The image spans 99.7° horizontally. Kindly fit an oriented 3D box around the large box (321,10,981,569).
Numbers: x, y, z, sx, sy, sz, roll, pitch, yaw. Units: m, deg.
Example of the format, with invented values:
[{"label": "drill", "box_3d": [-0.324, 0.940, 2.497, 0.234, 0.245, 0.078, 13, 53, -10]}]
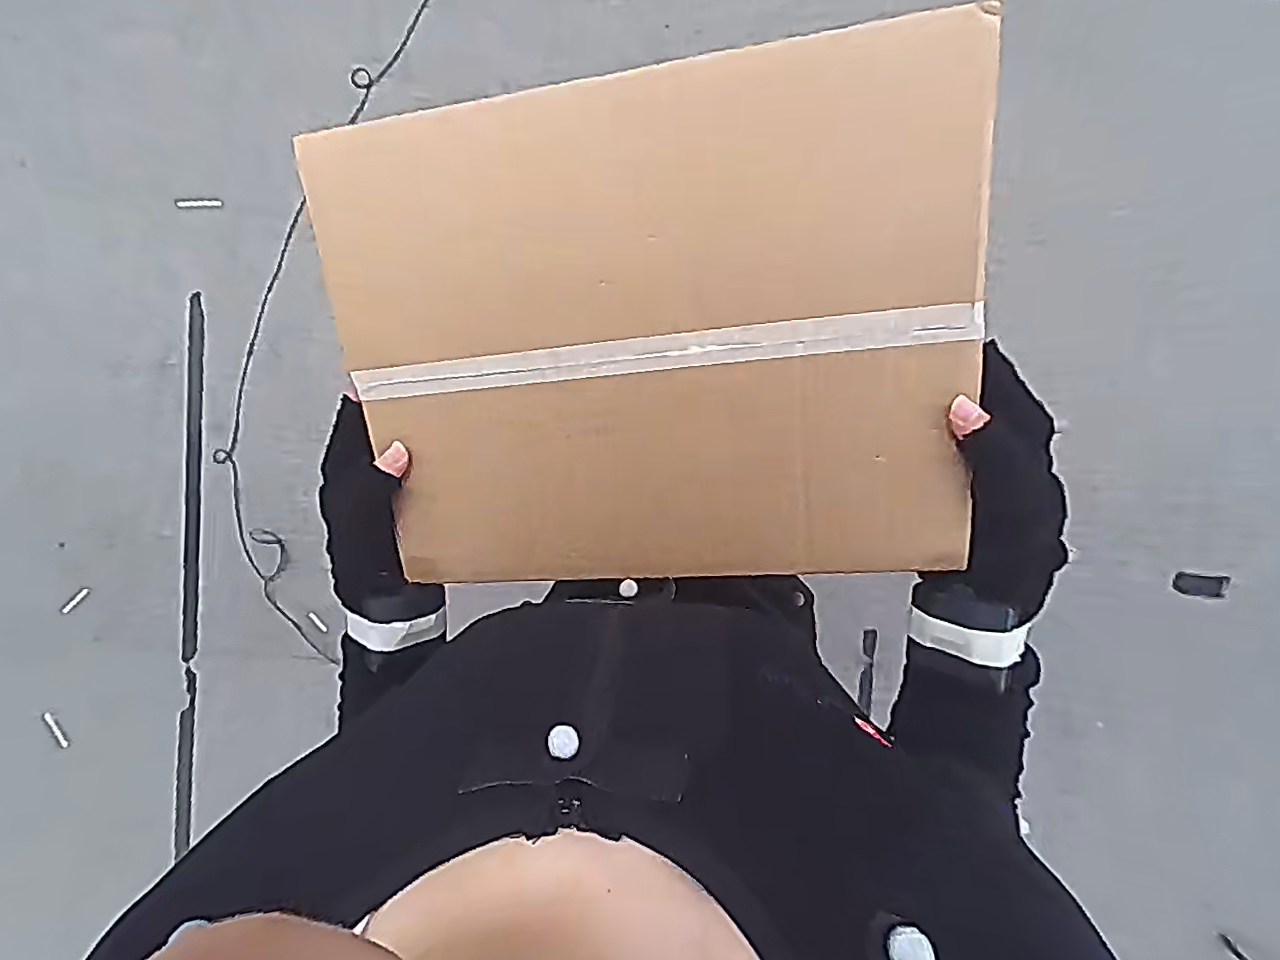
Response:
[{"label": "large box", "box_3d": [0.022, -0.129, 0.498, 0.408, 0.320, 0.320, -3, 108, 10]}]
